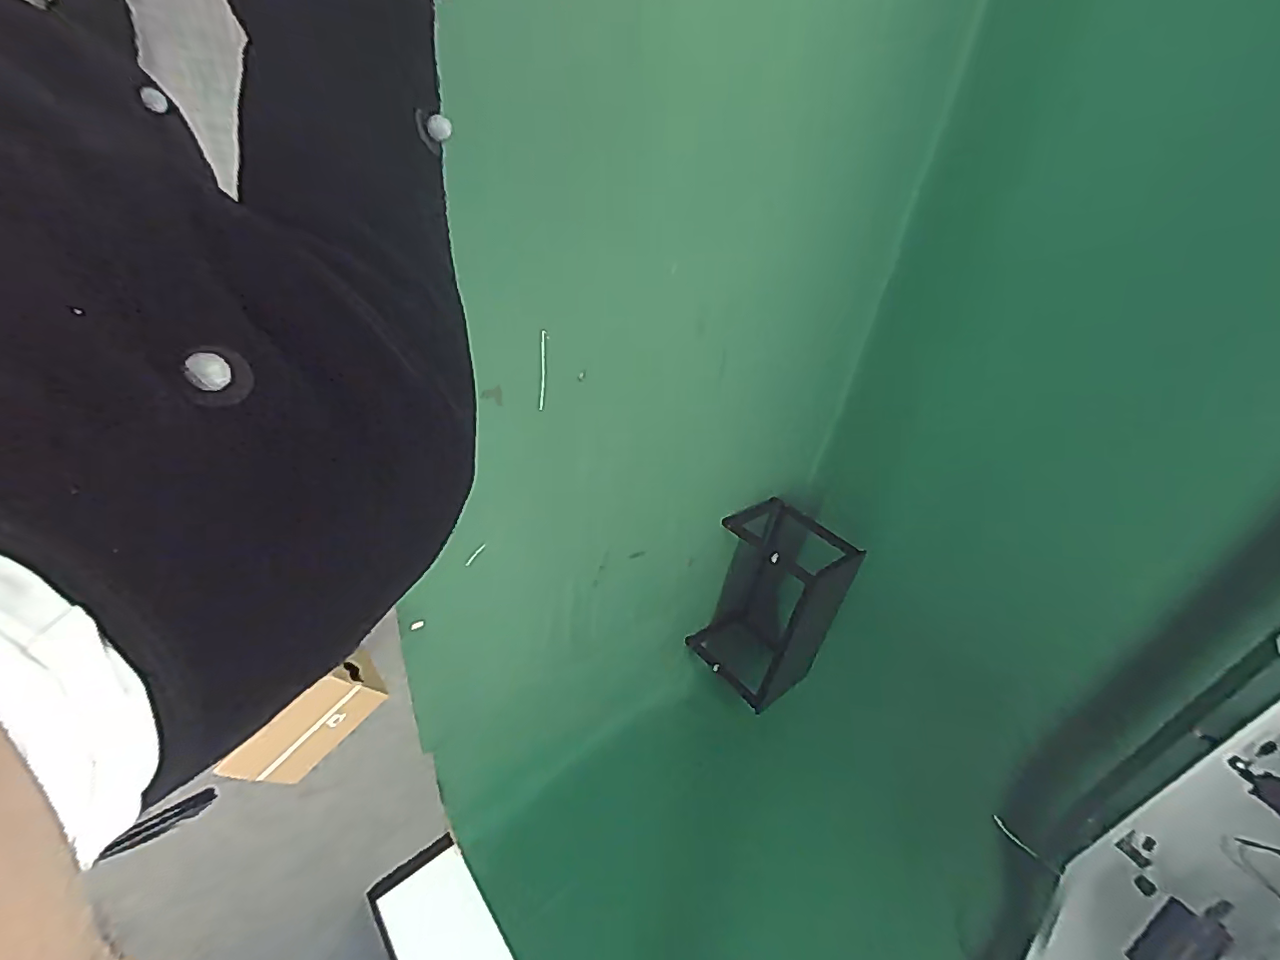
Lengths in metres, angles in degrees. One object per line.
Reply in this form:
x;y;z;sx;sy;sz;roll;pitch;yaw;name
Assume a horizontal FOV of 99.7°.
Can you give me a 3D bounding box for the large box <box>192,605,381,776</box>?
-1.186;0.707;1.827;0.408;0.320;0.320;-45;144;-12;large box
